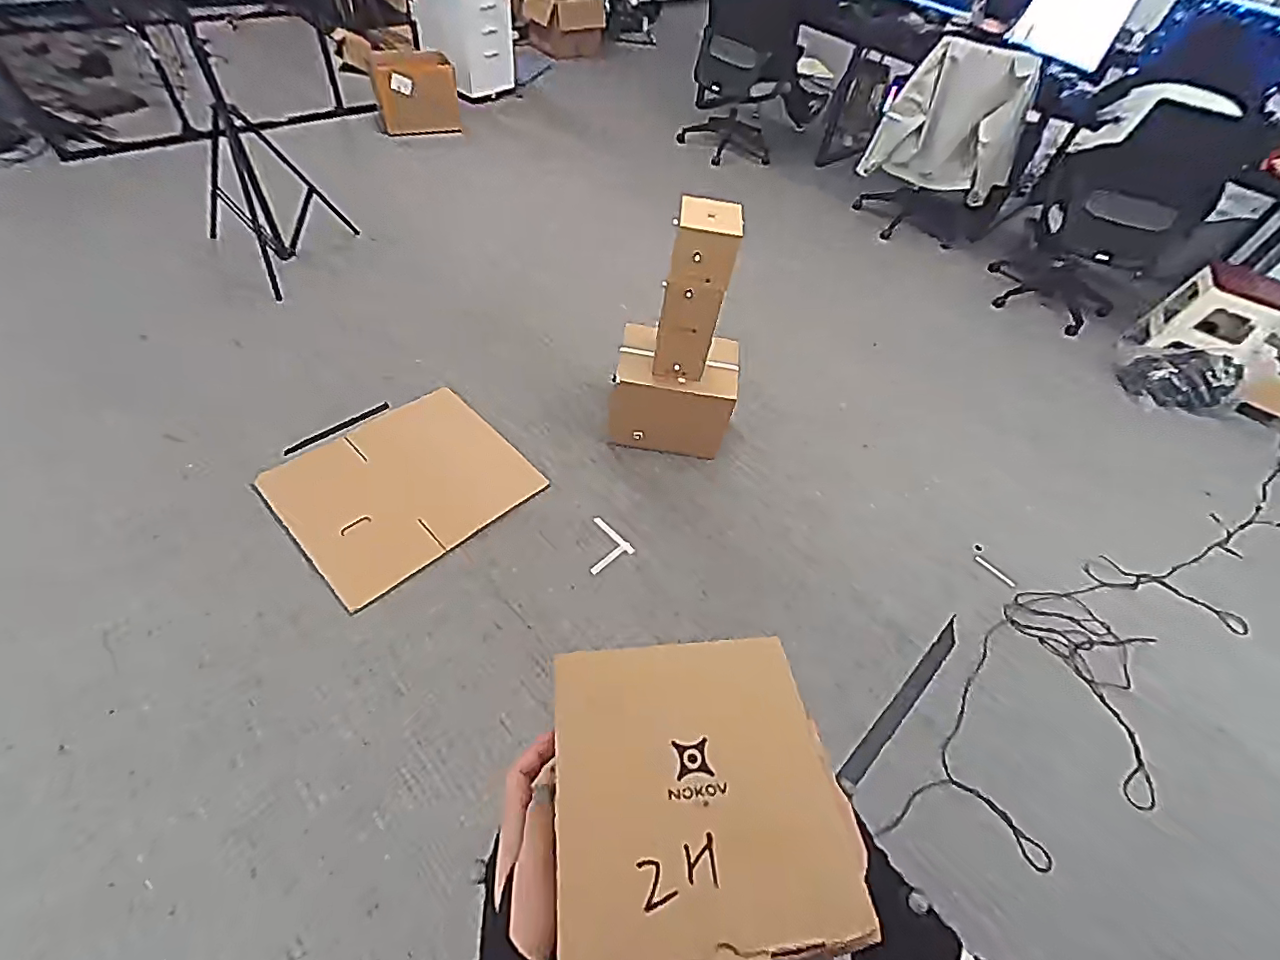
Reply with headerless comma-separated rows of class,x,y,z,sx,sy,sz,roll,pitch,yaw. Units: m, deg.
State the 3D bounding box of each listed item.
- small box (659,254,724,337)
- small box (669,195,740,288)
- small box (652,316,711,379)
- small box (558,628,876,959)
small box,0.153,-0.559,1.626,0.168,0.176,0.179,8,51,-2
small box,0.175,-0.656,1.497,0.168,0.176,0.179,8,51,-2
small box,0.134,-0.456,1.752,0.168,0.176,0.179,8,52,-2
small box,0.027,0.229,0.383,0.168,0.176,0.179,-3,44,-7
